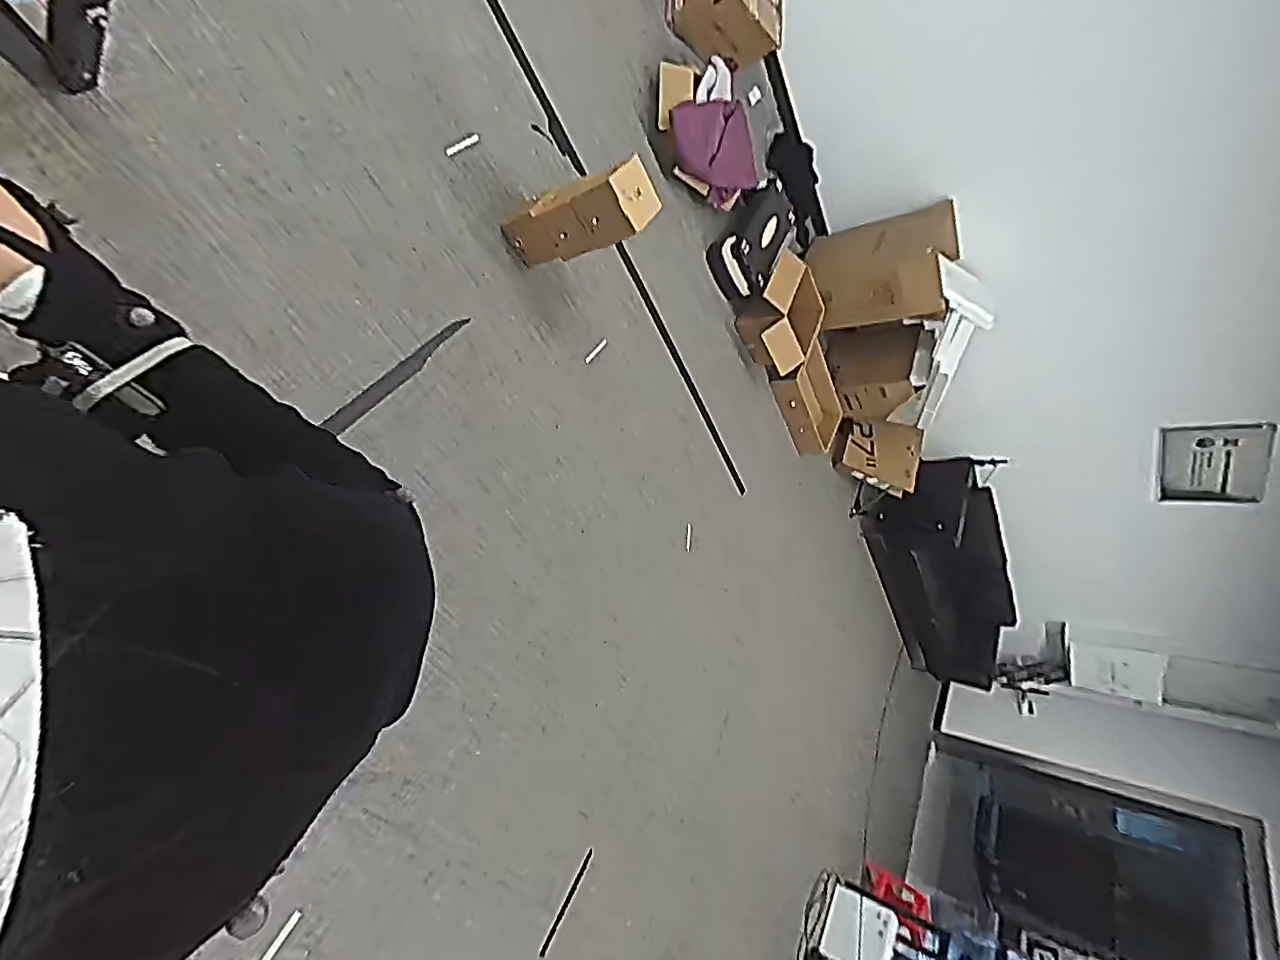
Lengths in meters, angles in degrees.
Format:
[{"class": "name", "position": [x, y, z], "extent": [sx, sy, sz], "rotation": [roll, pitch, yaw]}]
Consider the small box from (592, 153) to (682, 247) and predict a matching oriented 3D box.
[{"class": "small box", "position": [-0.010, -0.823, 1.599], "extent": [0.168, 0.176, 0.179], "rotation": [55, 53, -33]}]

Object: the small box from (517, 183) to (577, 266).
[{"class": "small box", "position": [-0.274, -0.844, 1.798], "extent": [0.168, 0.176, 0.179], "rotation": [51, 56, -36]}]

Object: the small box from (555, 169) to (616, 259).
[{"class": "small box", "position": [-0.141, -0.828, 1.701], "extent": [0.168, 0.176, 0.179], "rotation": [50, 55, -37]}]
